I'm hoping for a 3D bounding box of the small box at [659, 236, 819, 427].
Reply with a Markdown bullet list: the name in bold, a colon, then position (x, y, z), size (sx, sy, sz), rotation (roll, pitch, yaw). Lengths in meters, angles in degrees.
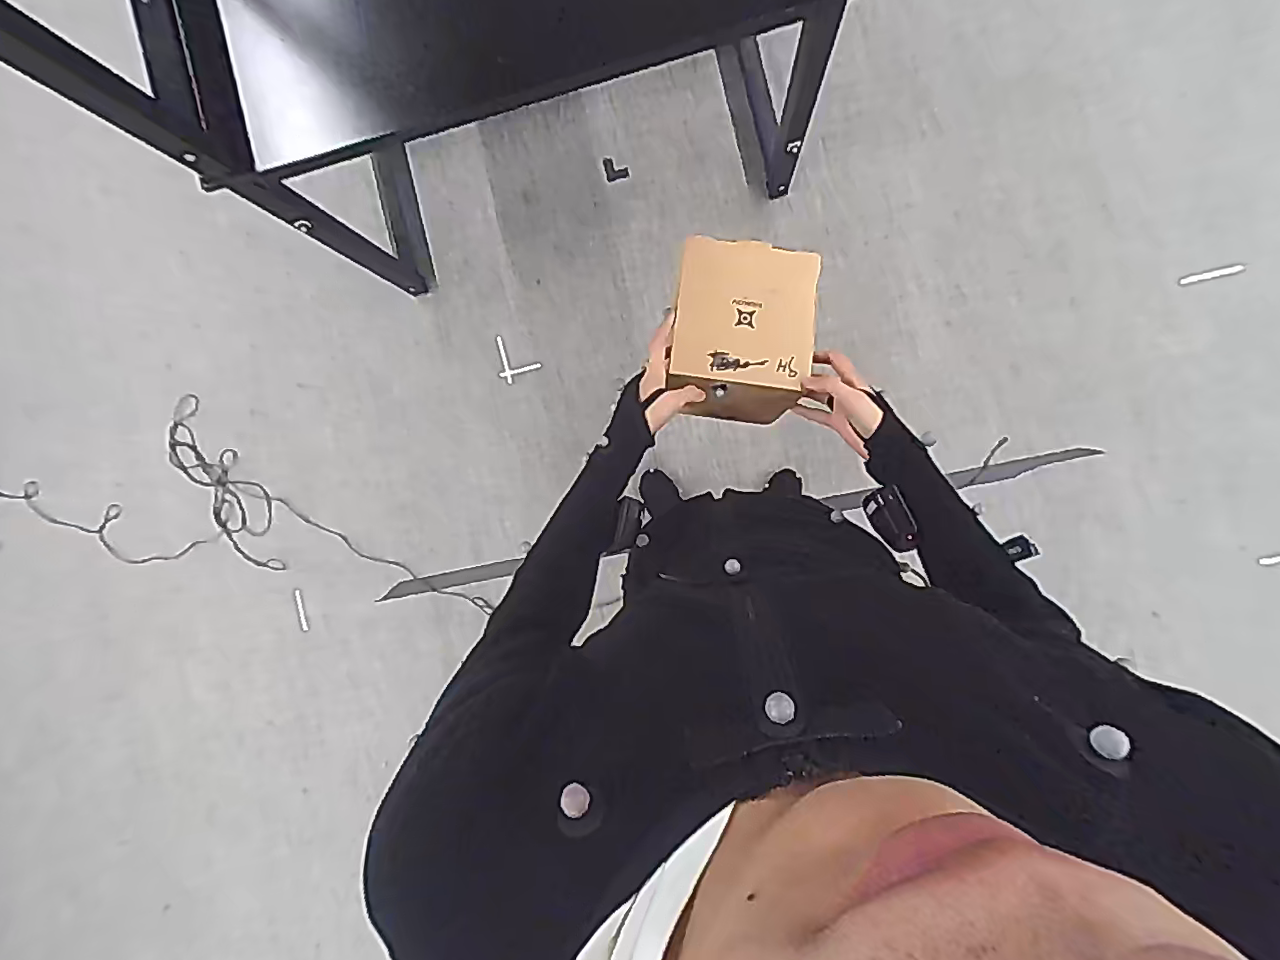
- **small box**: position (0.119, -0.183, 0.709), size (0.168, 0.176, 0.179), rotation (8, 81, -1)
